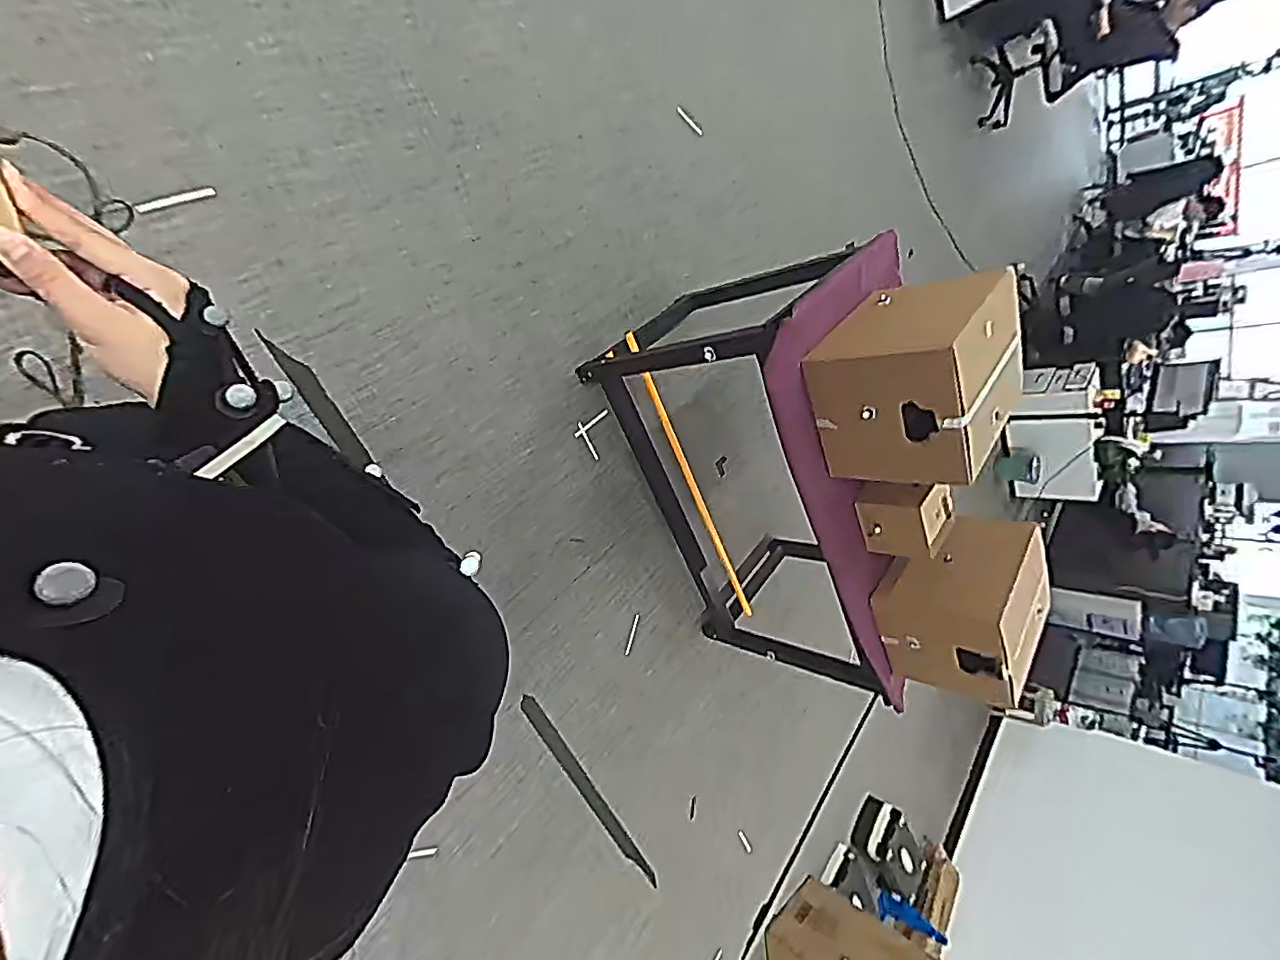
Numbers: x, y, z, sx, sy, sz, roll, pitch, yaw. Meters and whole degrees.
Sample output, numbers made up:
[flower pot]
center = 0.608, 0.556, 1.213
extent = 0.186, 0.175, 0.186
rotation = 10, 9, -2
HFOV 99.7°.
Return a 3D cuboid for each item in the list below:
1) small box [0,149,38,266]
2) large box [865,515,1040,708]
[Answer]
[small box]
center = -0.430, -0.193, 0.241
extent = 0.179, 0.176, 0.168
rotation = -22, 127, -41
[large box]
center = 0.890, 0.346, 1.531
extent = 0.408, 0.320, 0.320
rotation = -43, 120, -33
